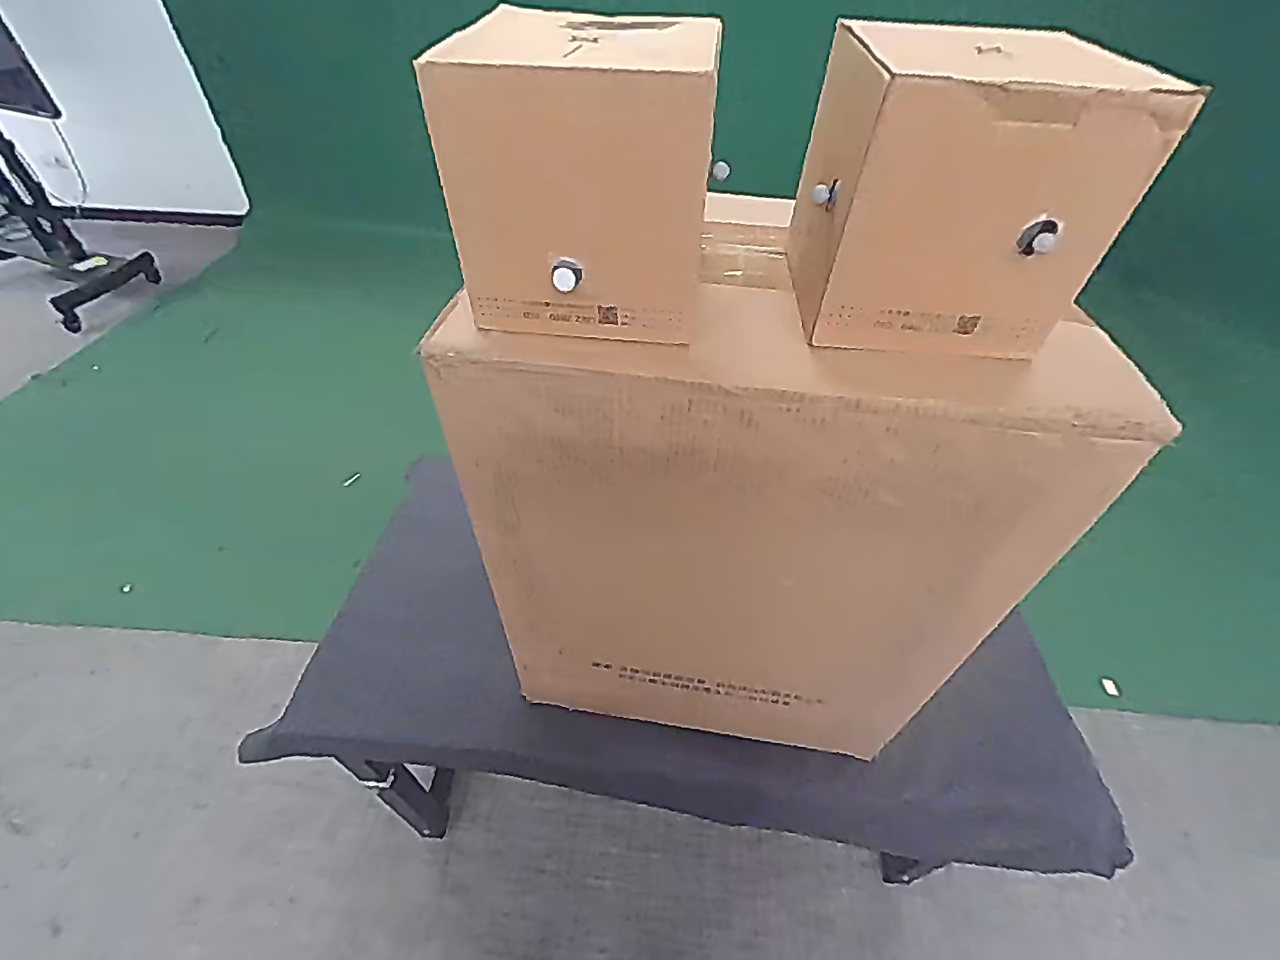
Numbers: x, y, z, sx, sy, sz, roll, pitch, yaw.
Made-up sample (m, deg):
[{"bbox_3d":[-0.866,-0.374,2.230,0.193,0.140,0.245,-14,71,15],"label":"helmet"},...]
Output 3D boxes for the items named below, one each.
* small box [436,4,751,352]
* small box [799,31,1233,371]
[{"bbox_3d":[-0.018,-0.218,0.392,0.168,0.176,0.179,8,48,6],"label":"small box"},{"bbox_3d":[0.228,-0.199,0.394,0.168,0.176,0.179,6,47,-1],"label":"small box"}]
